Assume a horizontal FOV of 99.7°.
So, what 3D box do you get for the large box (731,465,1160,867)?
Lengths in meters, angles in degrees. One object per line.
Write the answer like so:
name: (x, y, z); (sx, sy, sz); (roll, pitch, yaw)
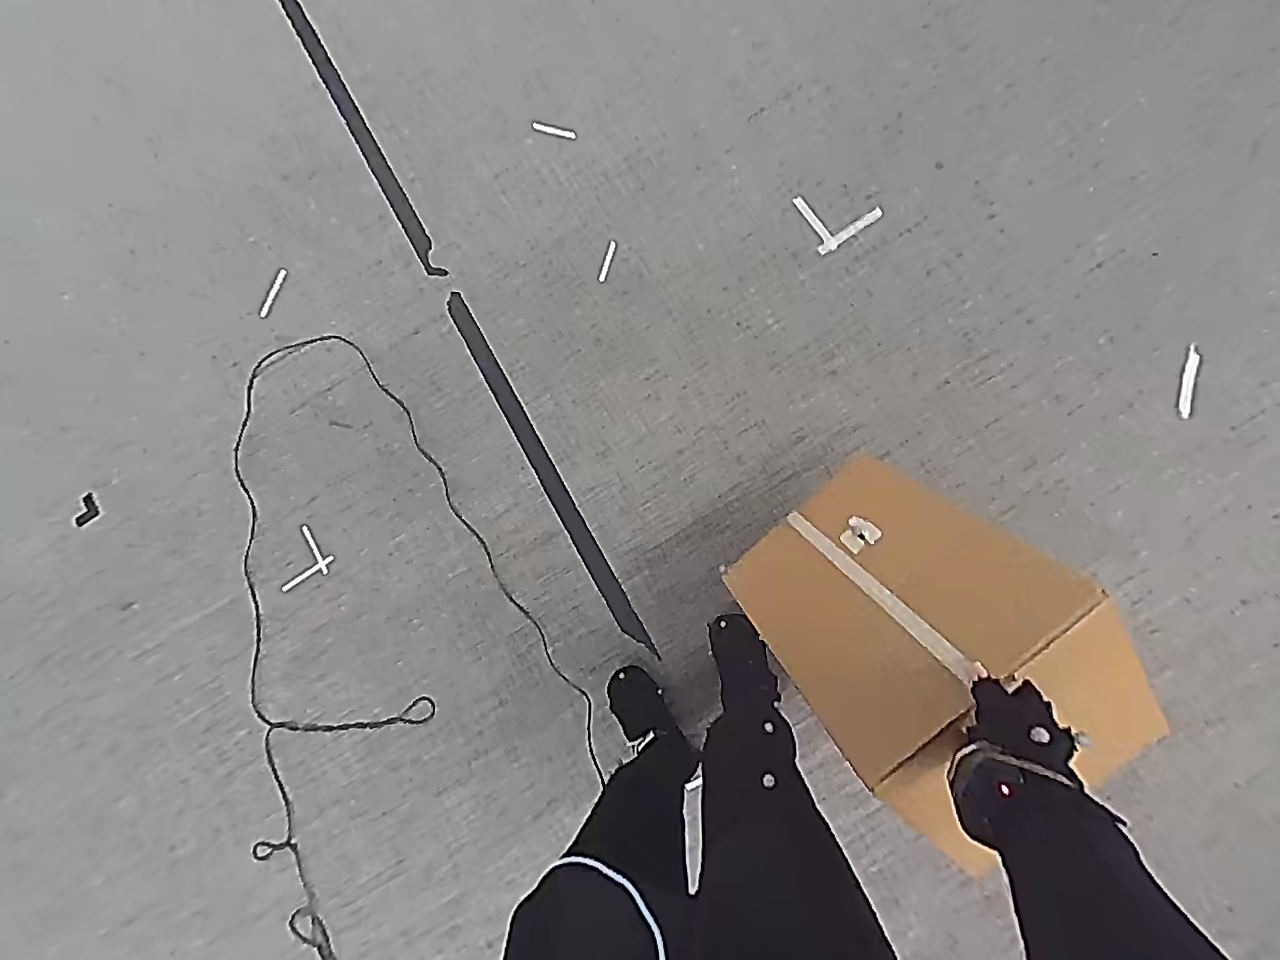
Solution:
large box: (0.410, 0.244, 0.803); (0.320, 0.408, 0.320); (-42, 117, 5)
